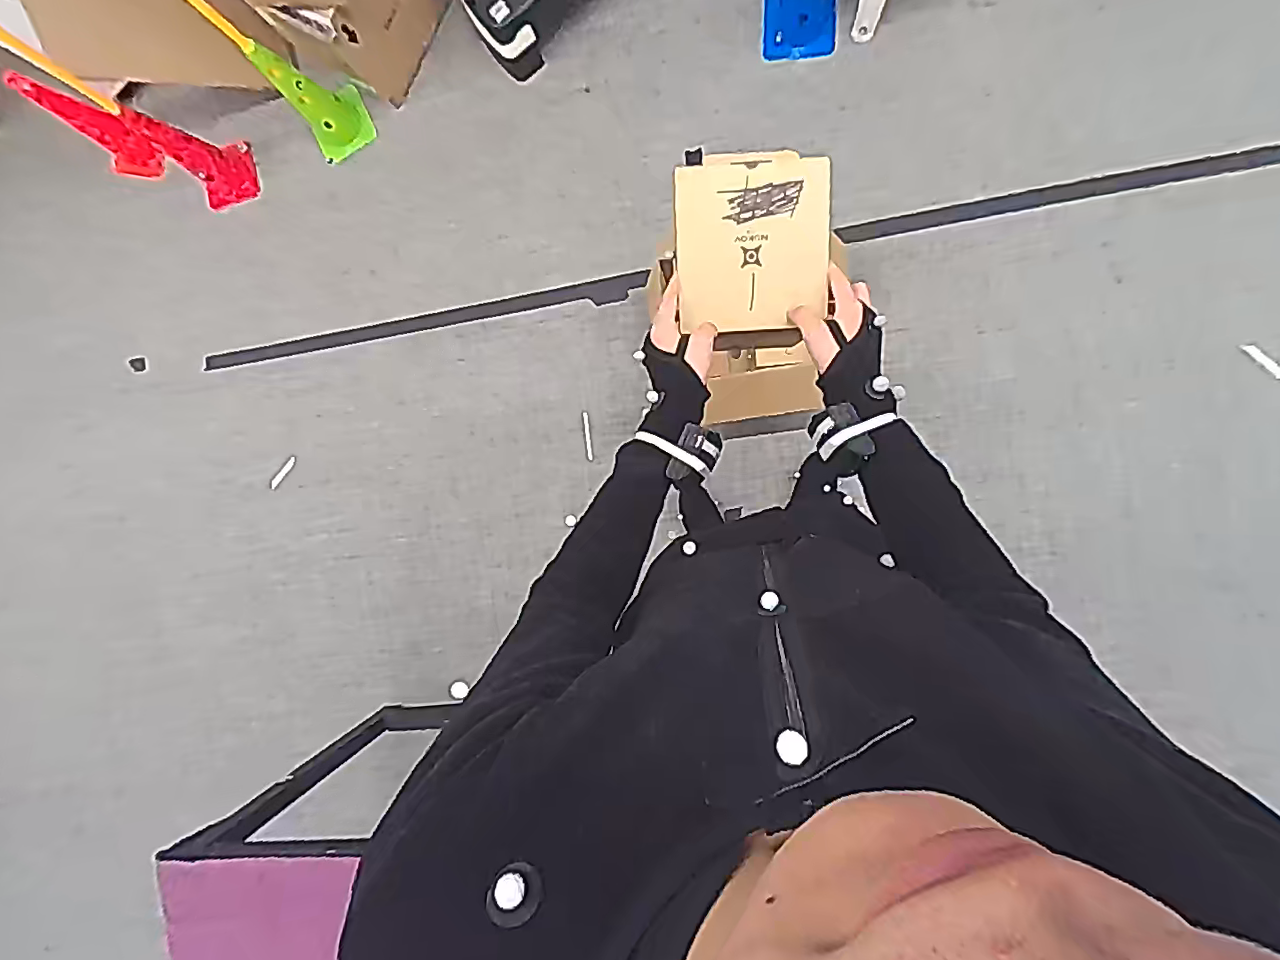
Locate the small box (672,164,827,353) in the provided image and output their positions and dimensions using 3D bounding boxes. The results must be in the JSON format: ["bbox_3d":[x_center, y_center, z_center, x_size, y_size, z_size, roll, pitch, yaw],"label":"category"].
[{"bbox_3d":[0.126,-0.260,0.673,0.168,0.176,0.179,-2,97,3],"label":"small box"}]
